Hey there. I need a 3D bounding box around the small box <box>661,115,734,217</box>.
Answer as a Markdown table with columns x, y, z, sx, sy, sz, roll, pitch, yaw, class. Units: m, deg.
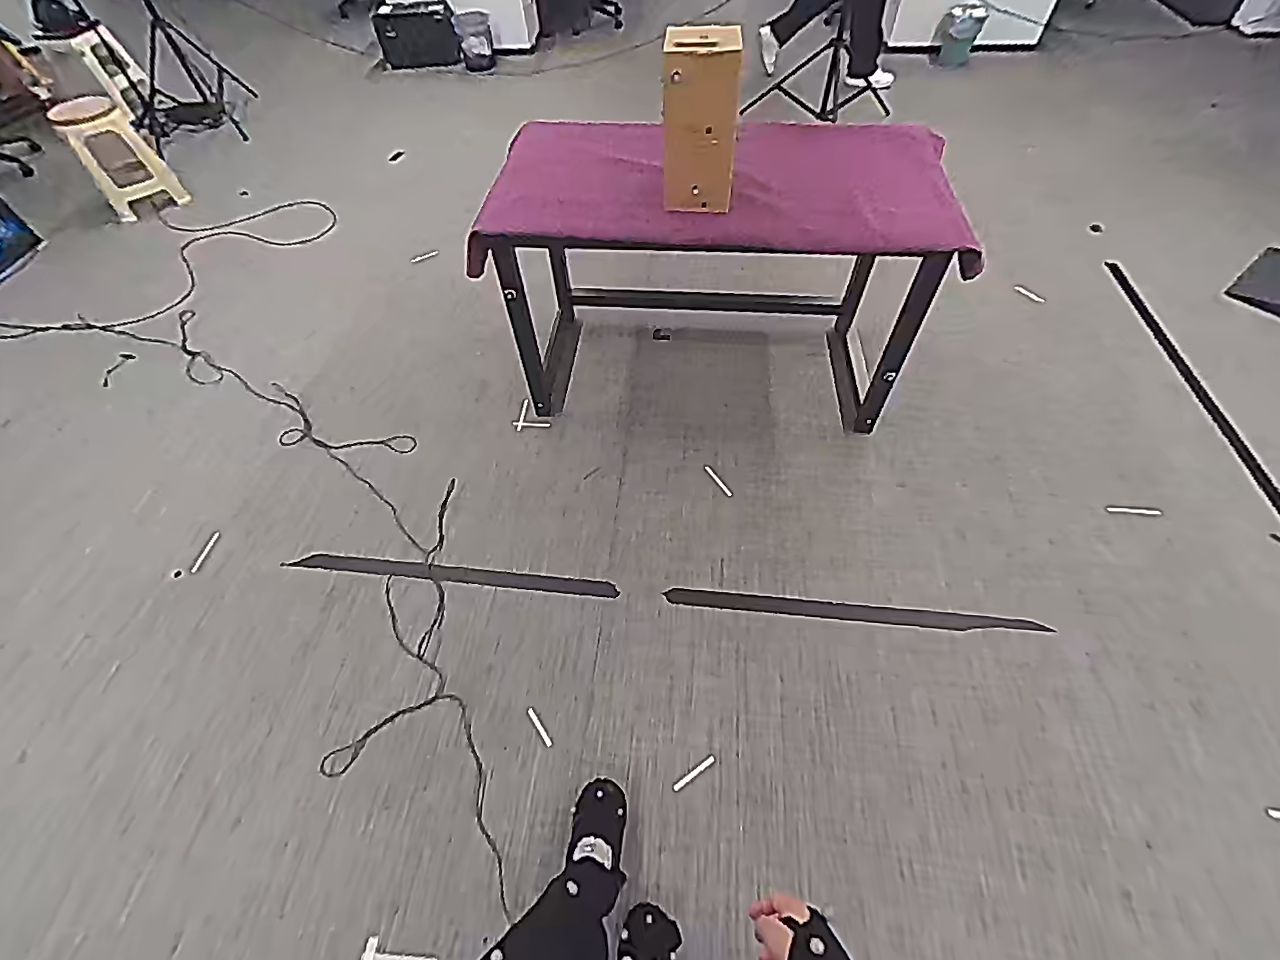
| x | y | z | sx | sy | sz | roll | pitch | yaw | class |
| --- | --- | --- | --- | --- | --- | --- | --- | --- | --- |
| 0.143 | -0.789 | 1.361 | 0.168 | 0.176 | 0.179 | 5 | 54 | 7 | small box |
